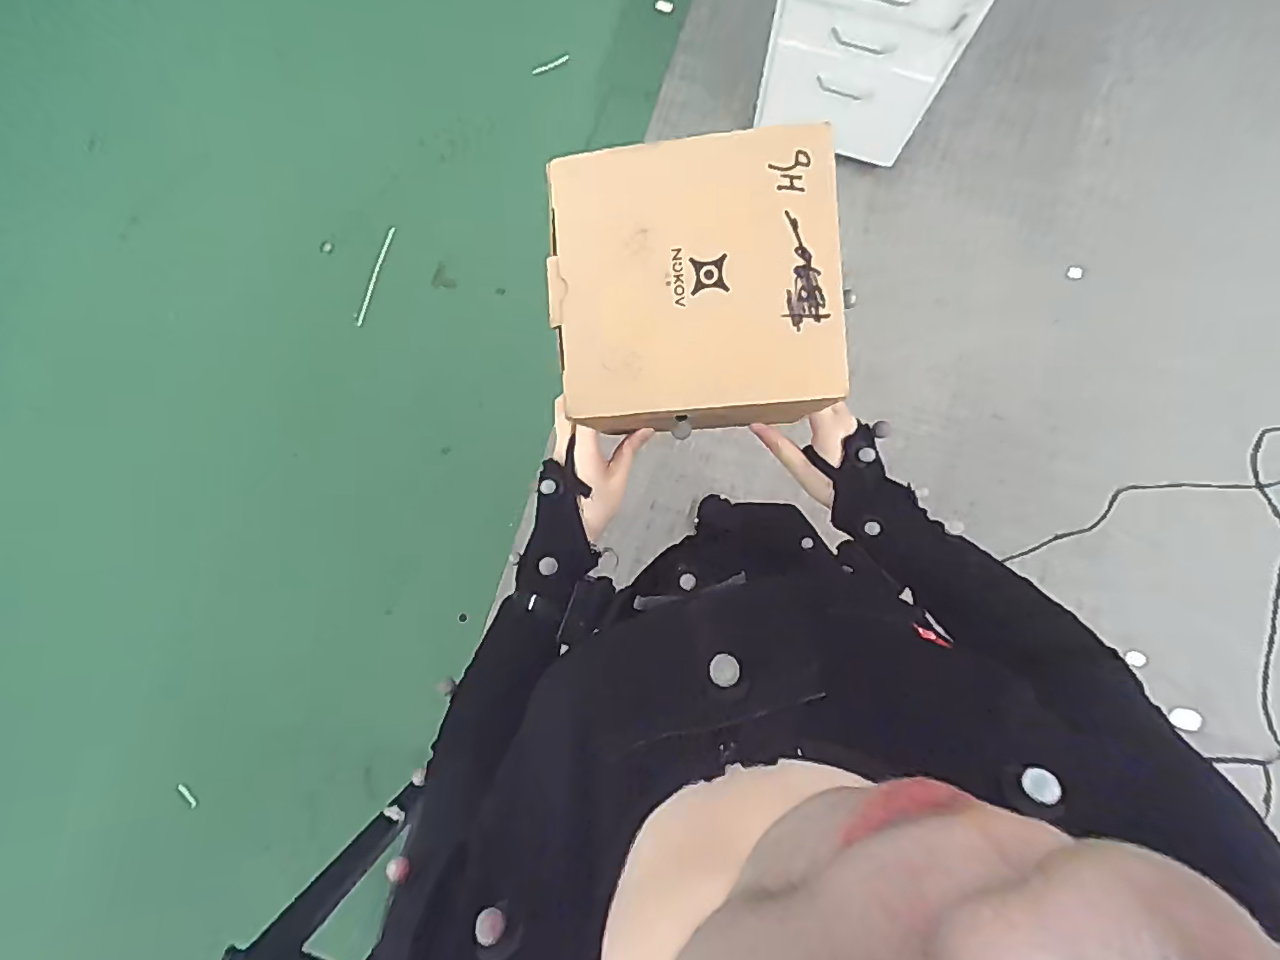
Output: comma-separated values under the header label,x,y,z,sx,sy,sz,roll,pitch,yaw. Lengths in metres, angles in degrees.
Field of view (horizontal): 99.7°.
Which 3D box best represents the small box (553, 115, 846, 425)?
label,x,y,z,sx,sy,sz,roll,pitch,yaw
small box,0.044,-0.133,0.412,0.179,0.176,0.168,-3,92,7
